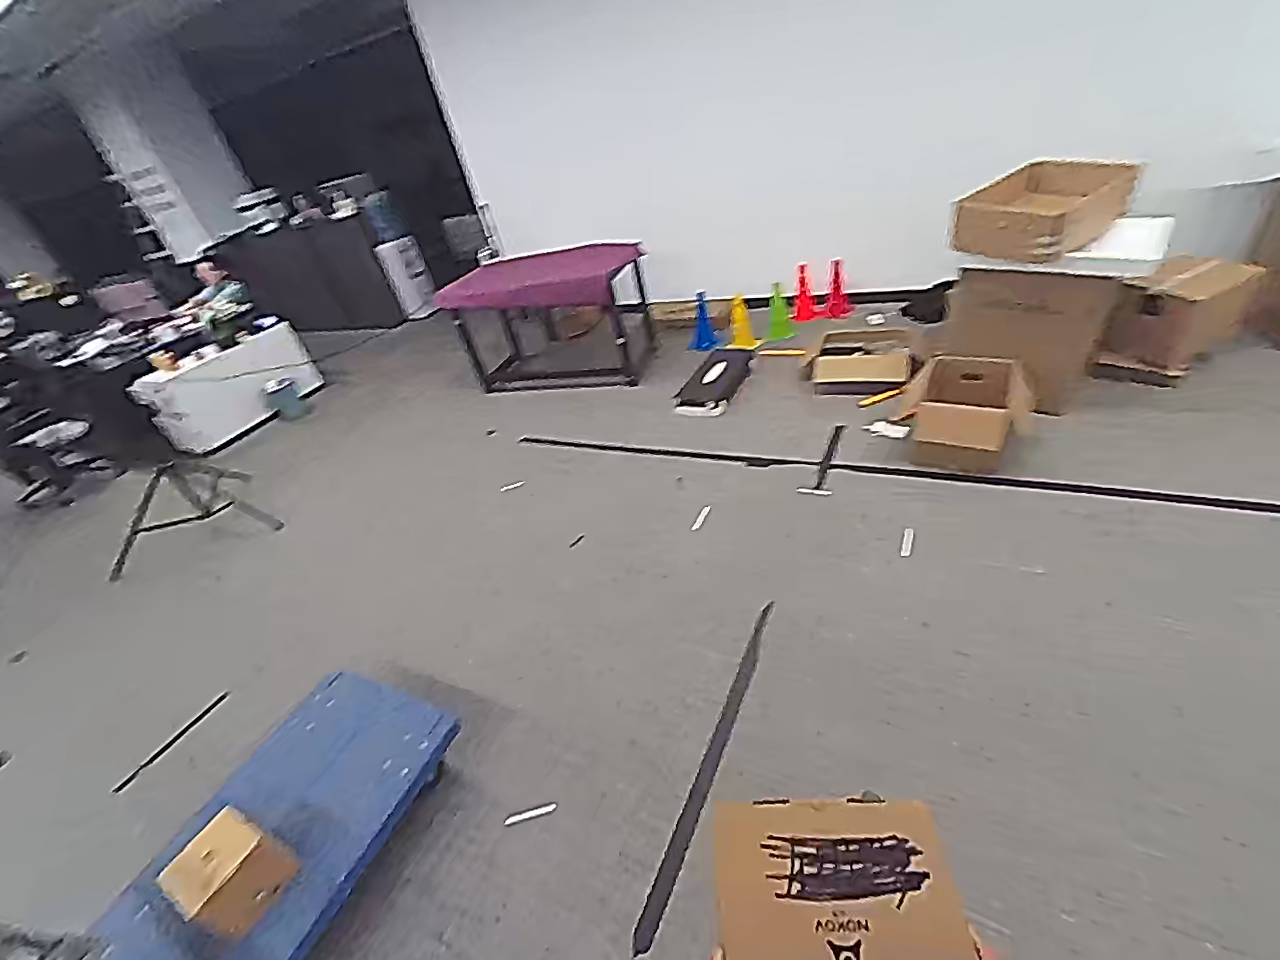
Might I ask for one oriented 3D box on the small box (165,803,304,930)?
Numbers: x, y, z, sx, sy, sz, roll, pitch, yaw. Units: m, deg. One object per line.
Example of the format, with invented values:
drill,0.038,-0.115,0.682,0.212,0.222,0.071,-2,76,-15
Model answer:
small box,-0.952,0.916,1.280,0.179,0.176,0.168,10,43,30
